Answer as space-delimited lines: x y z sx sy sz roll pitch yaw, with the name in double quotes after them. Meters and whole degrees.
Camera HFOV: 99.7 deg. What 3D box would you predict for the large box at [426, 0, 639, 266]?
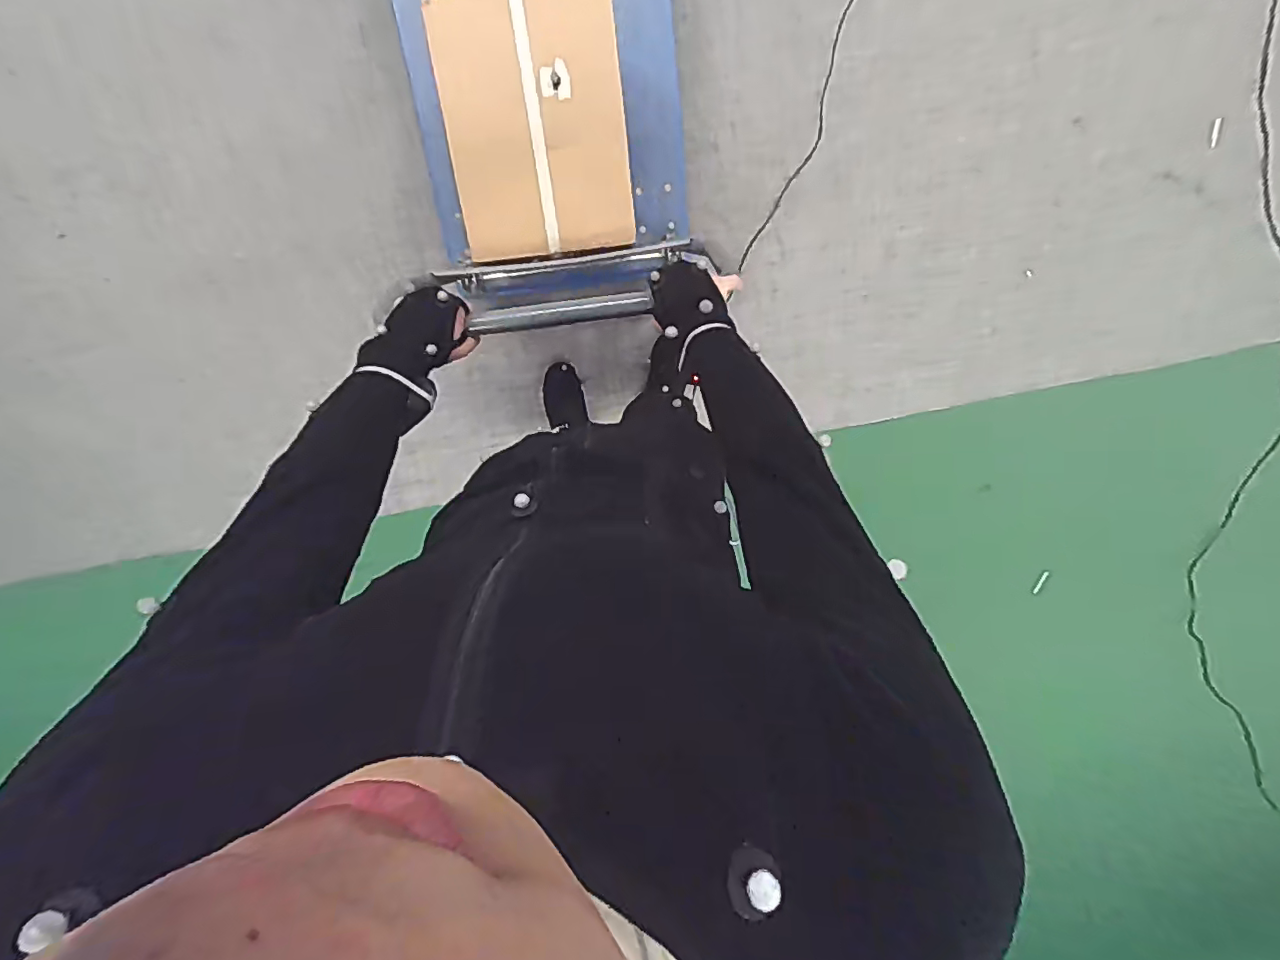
-0.184 -0.672 1.097 0.320 0.320 0.408 -7 110 -1 "large box"
